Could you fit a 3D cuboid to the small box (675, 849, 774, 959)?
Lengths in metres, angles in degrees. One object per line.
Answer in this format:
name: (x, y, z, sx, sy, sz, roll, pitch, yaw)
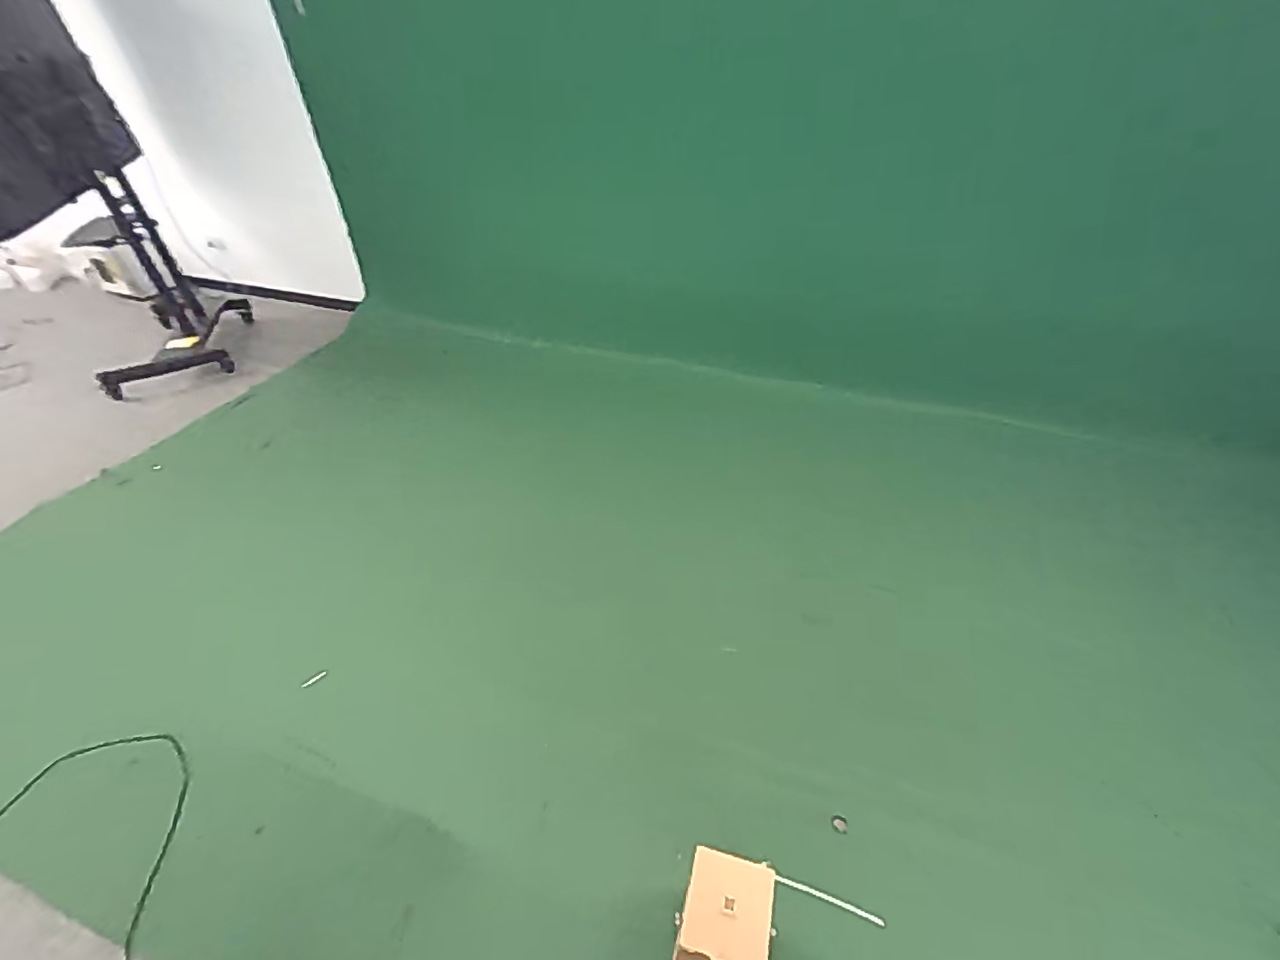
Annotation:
small box: (0.170, 0.904, 1.109, 0.168, 0.176, 0.179, 11, 43, 12)
